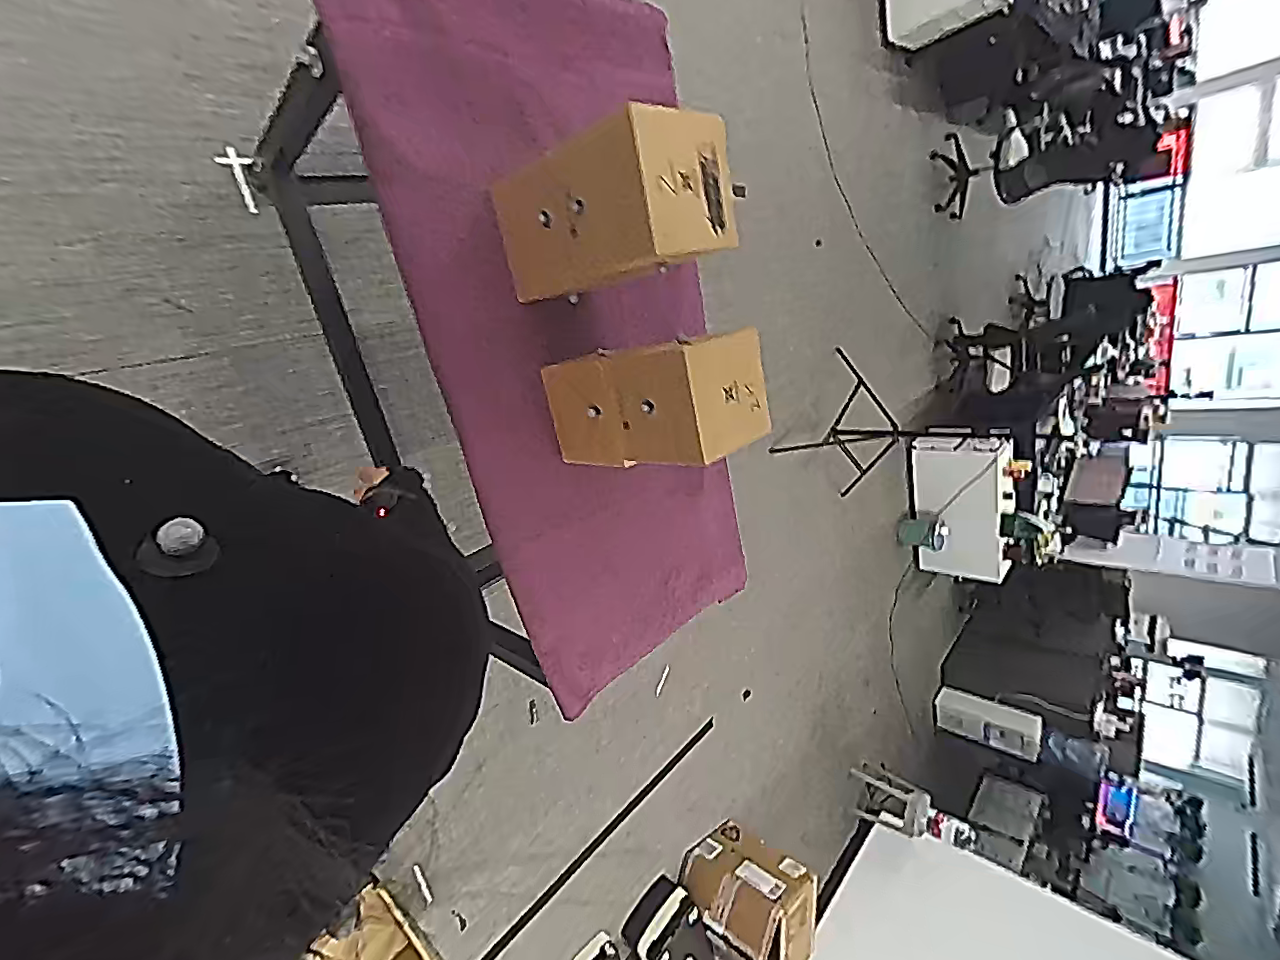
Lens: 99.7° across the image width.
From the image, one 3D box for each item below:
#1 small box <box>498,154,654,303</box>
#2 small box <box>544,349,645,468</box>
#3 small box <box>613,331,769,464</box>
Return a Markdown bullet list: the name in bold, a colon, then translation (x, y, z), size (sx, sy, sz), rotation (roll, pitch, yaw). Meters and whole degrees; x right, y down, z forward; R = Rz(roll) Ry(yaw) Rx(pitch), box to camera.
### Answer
- **small box**: translation (-0.104, -0.396, 0.870), size (0.168, 0.176, 0.179), rotation (-26, 113, -40)
- **small box**: translation (-0.044, -0.132, 0.960), size (0.168, 0.176, 0.179), rotation (-26, 111, -40)
- **small box**: translation (0.075, -0.129, 0.845), size (0.179, 0.176, 0.168), rotation (-26, 112, -40)
